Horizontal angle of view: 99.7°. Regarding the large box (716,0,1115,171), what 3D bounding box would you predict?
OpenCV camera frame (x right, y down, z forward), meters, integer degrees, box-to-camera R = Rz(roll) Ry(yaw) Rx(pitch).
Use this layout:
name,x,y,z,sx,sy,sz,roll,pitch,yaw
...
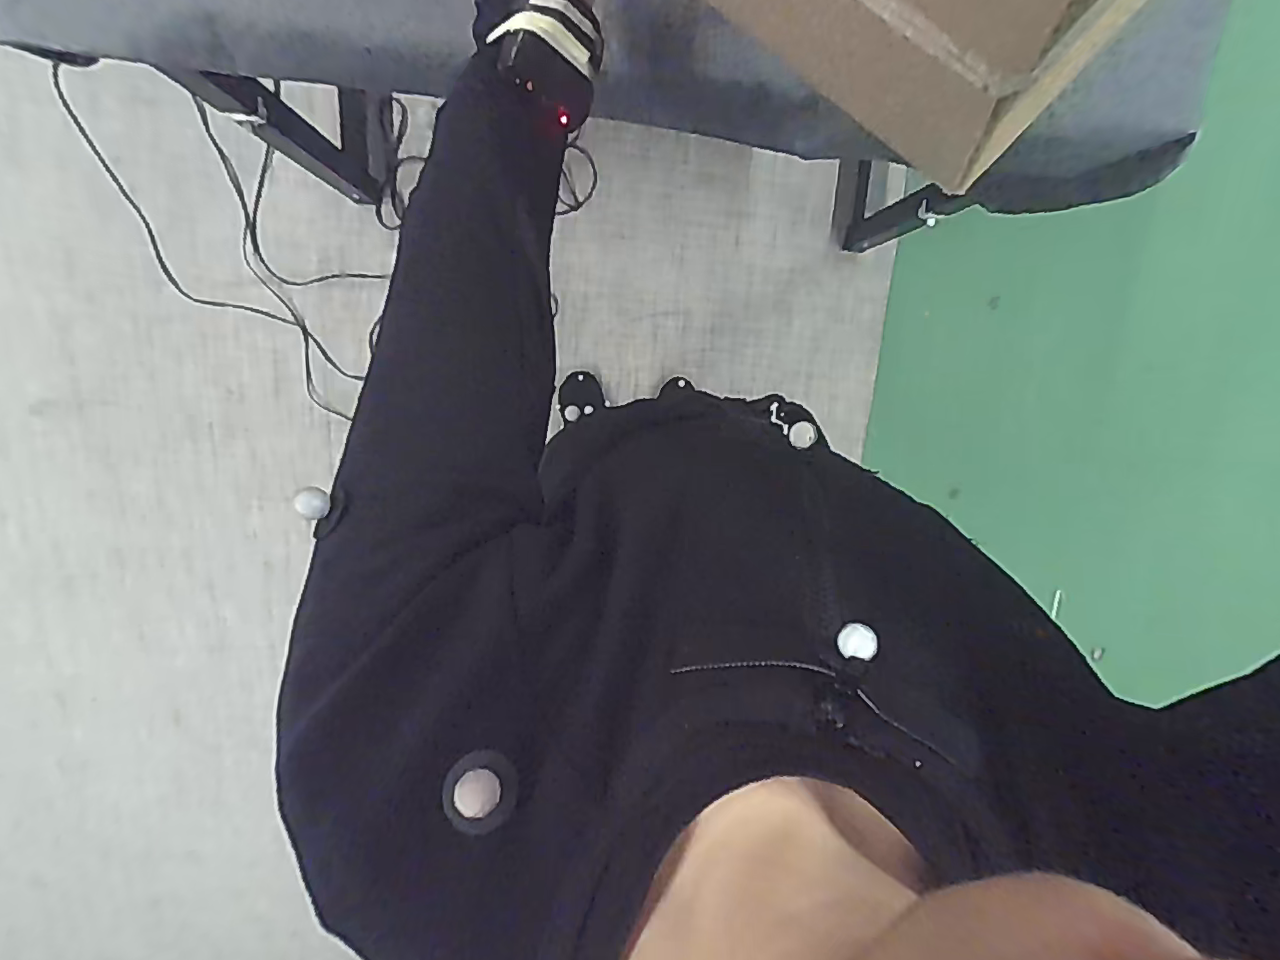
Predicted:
name,x,y,z,sx,sy,sz,roll,pitch,yaw
large box,0.100,-0.404,0.191,0.408,0.320,0.320,43,112,8
